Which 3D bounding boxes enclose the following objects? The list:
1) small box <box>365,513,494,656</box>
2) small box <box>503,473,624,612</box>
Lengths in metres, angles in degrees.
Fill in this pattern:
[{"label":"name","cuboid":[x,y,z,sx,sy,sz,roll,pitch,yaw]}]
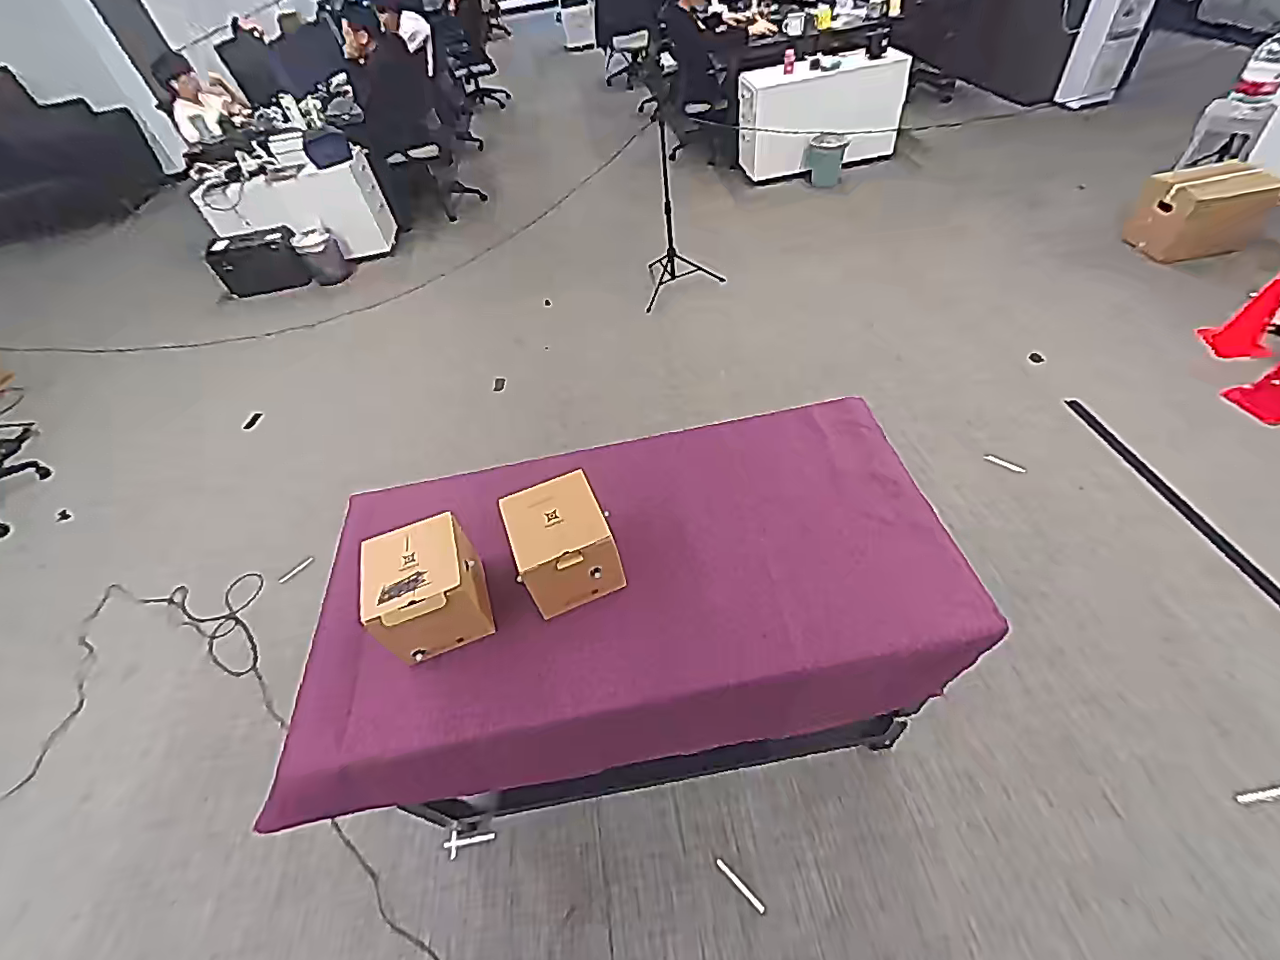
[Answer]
[{"label":"small box","cuboid":[-0.377,0.197,0.982,0.168,0.176,0.179,-19,48,-8]},{"label":"small box","cuboid":[-0.139,0.123,1.011,0.168,0.176,0.179,-20,48,-9]}]
